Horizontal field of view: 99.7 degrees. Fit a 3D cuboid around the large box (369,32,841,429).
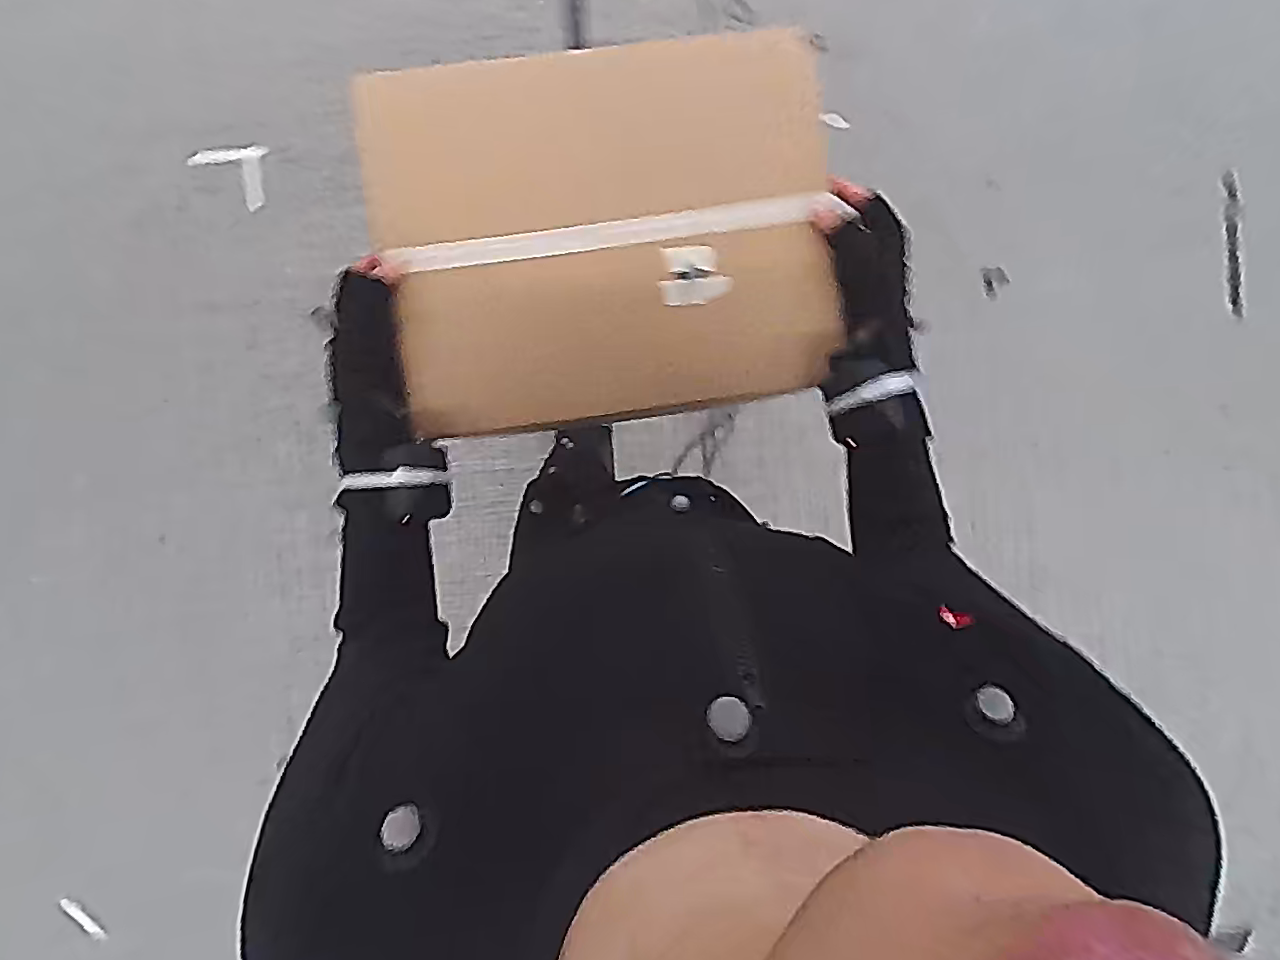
[{"bbox_3d":[-0.034,-0.241,0.642,0.408,0.320,0.320,-8,96,-3],"label":"large box"}]
